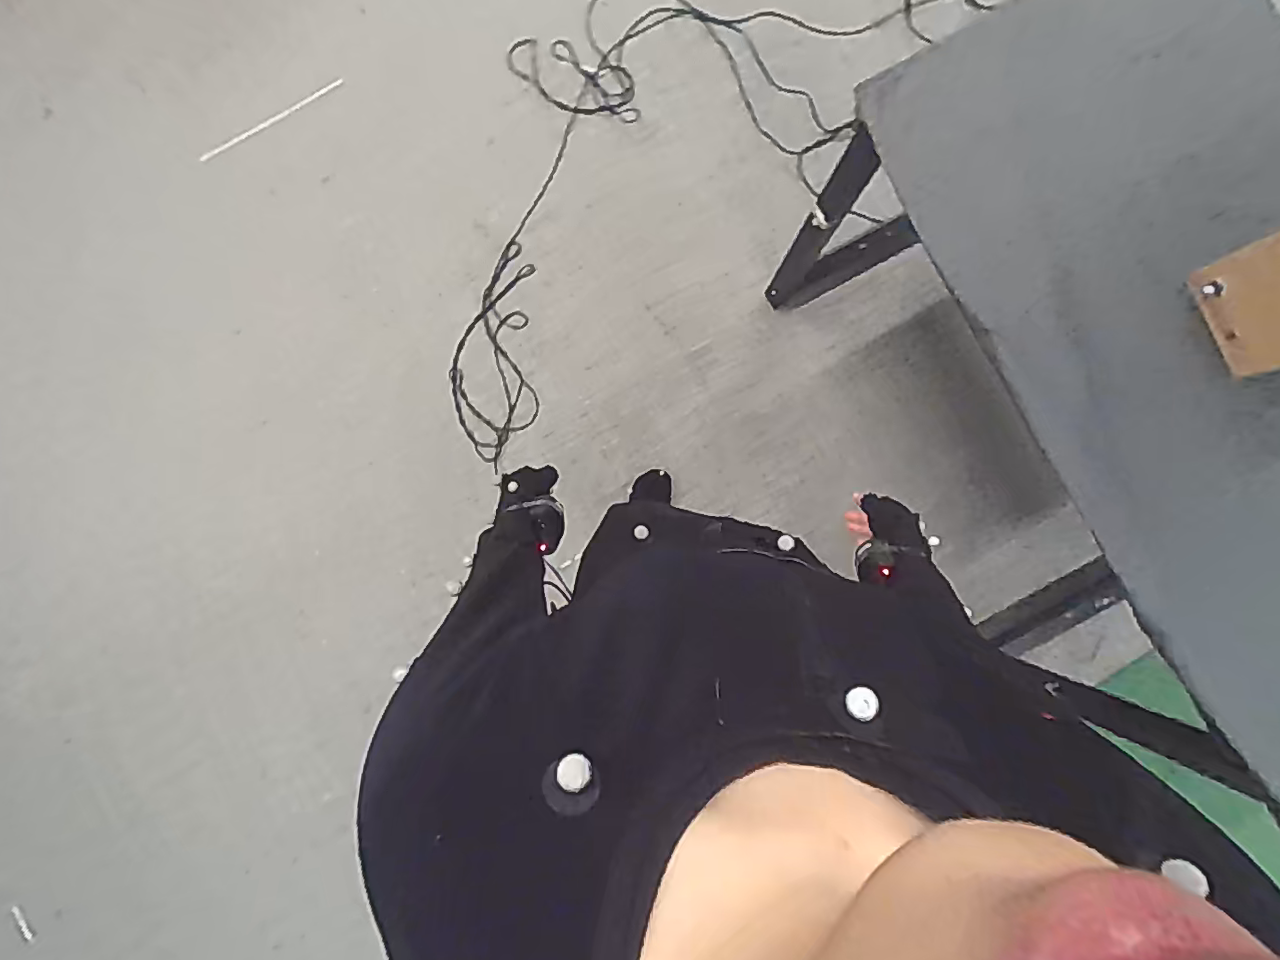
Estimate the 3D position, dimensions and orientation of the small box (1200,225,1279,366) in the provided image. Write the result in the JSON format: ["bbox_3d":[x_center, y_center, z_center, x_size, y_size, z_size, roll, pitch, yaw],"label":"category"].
[{"bbox_3d":[0.889,-0.267,0.692,0.179,0.176,0.168,-25,87,-2],"label":"small box"}]
